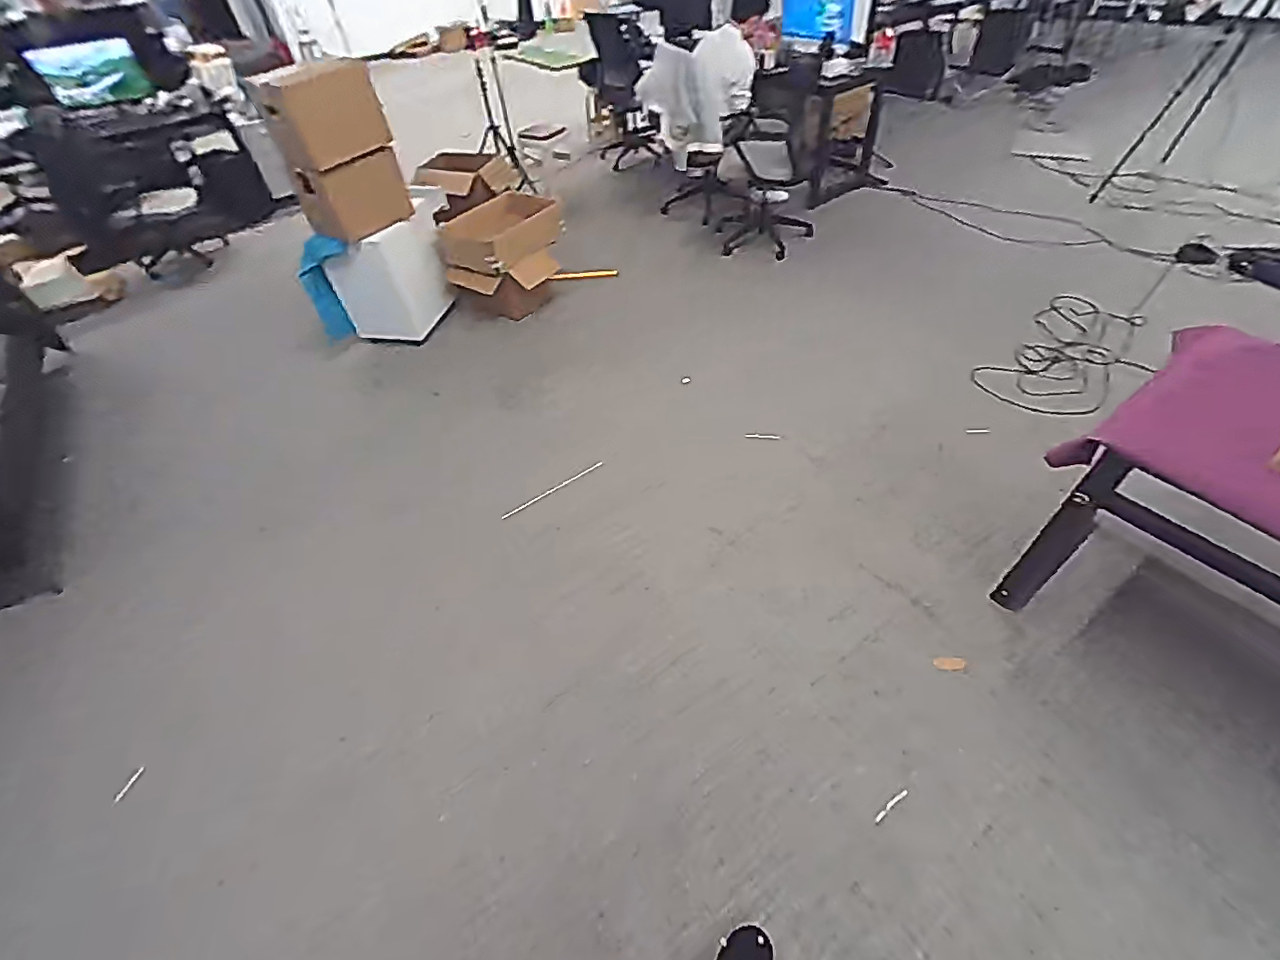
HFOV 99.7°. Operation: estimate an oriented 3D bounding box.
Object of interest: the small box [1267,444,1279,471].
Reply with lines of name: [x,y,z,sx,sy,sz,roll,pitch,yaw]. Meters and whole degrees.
small box: [1.409,-0.077,1.045,0.168,0.176,0.179,-33,52,-21]
